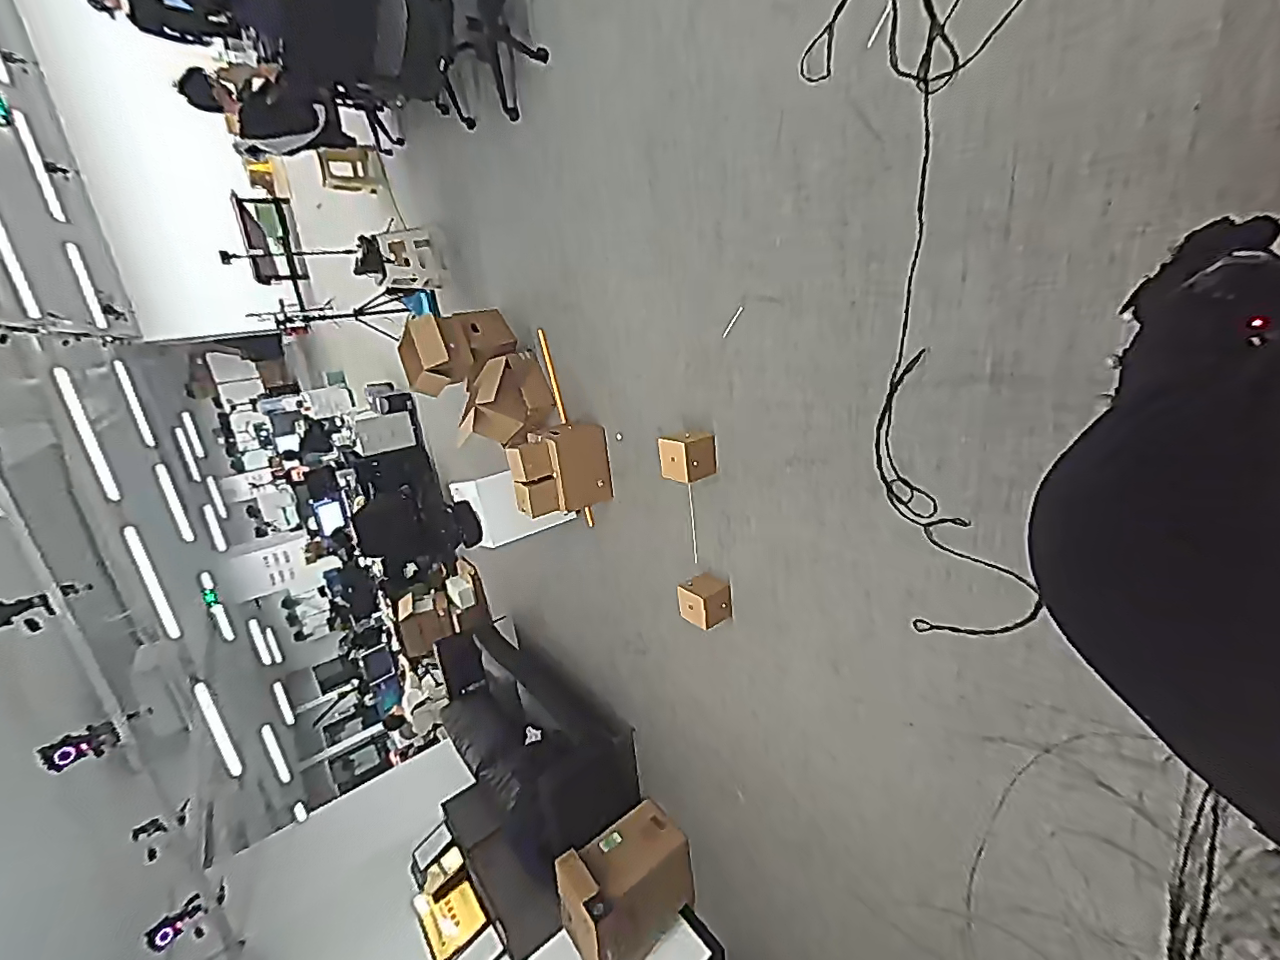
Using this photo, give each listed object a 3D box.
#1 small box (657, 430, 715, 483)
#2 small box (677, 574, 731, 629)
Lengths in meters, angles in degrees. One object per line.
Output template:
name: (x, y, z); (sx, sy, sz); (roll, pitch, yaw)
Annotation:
small box: (0.195, -0.104, 2.263); (0.168, 0.176, 0.179); (15, 119, 51)
small box: (0.291, 0.546, 2.458); (0.179, 0.176, 0.168); (15, 119, 51)
